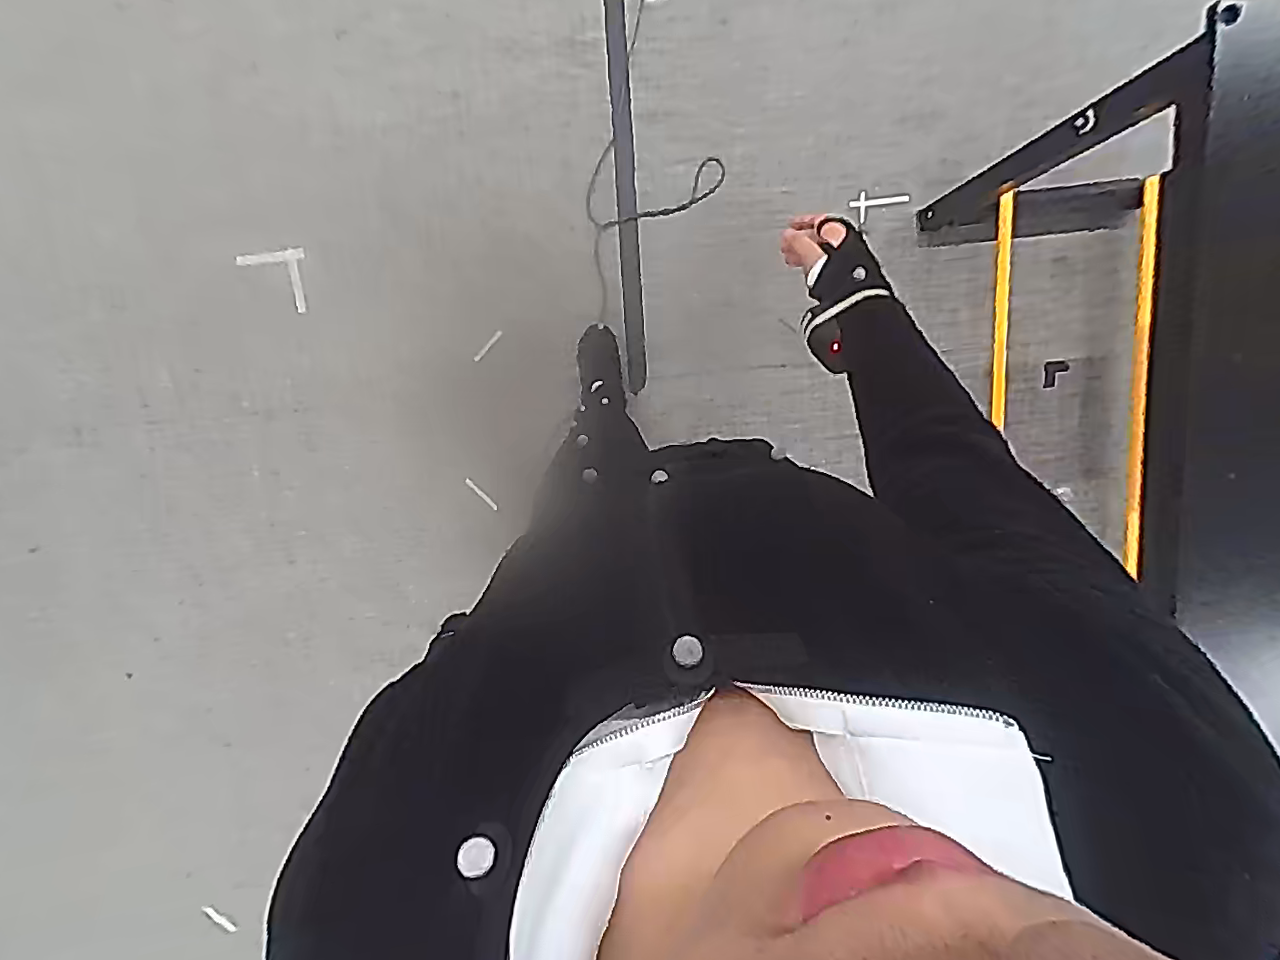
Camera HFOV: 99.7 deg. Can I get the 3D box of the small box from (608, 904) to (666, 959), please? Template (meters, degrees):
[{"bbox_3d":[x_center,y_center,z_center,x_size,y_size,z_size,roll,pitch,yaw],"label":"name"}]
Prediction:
[{"bbox_3d":[-0.008,1.418,1.626,0.168,0.176,0.179,-5,98,0],"label":"small box"}]
